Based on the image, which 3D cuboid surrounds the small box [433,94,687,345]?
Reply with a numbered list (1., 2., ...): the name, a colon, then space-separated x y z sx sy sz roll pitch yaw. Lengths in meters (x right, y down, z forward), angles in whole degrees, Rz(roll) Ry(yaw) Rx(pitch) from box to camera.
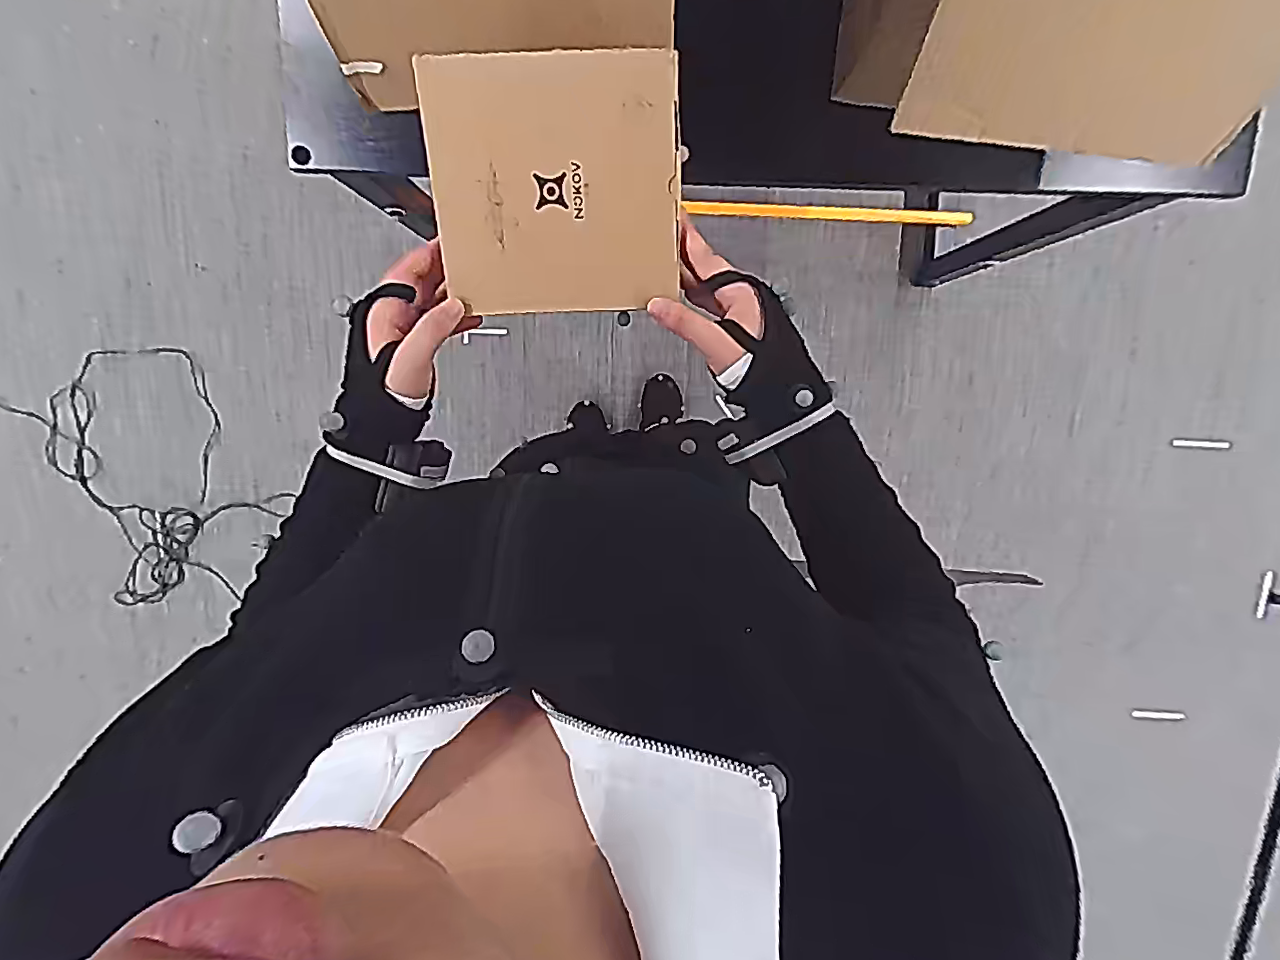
1. small box: -0.056 -0.213 0.475 0.179 0.176 0.168 -3 108 0
